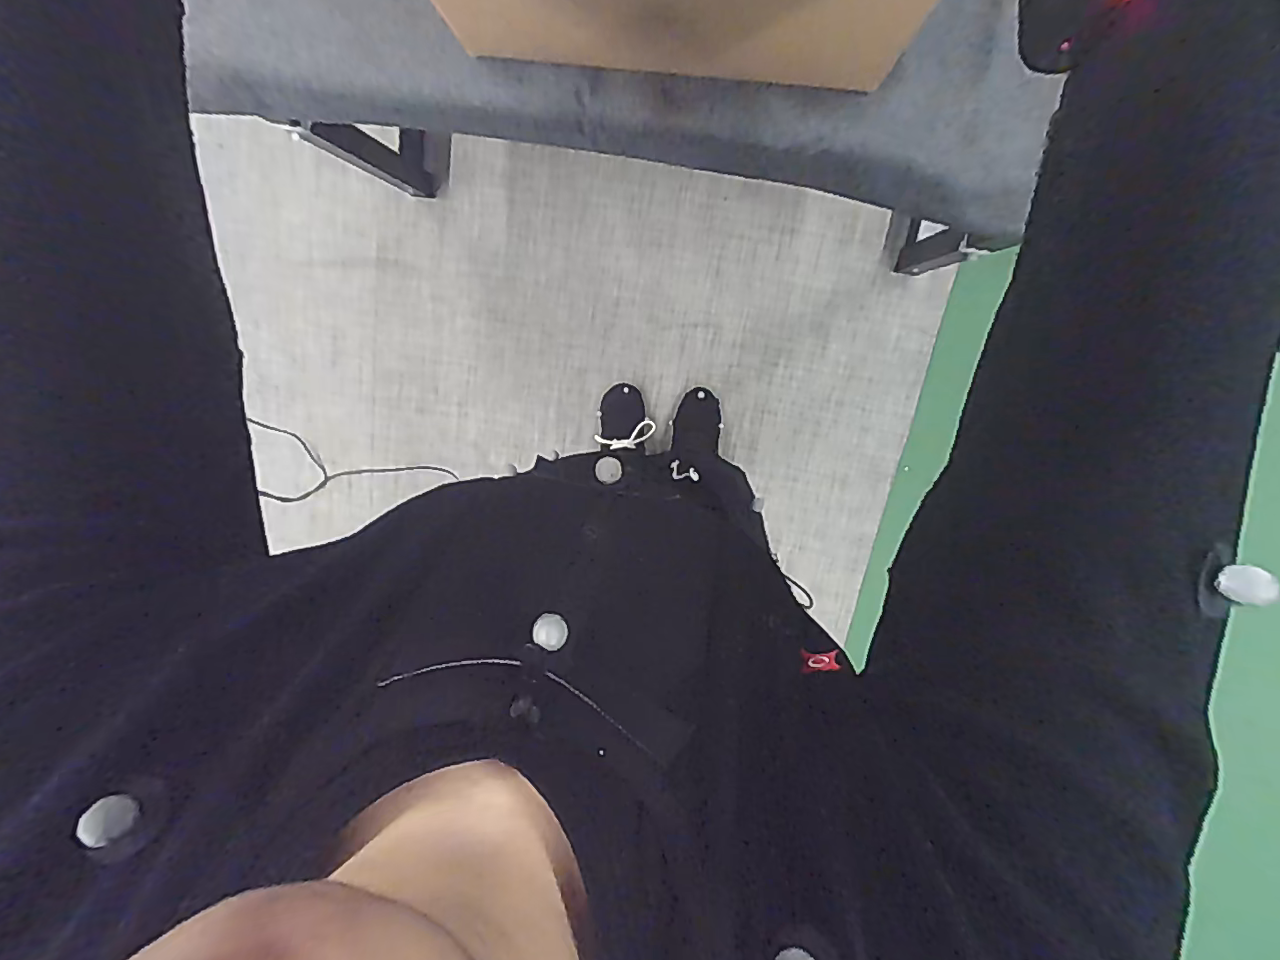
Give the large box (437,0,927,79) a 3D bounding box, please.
[{"bbox_3d":[0.030,-0.516,0.350,0.408,0.320,0.320,6,104,2],"label":"large box"}]
